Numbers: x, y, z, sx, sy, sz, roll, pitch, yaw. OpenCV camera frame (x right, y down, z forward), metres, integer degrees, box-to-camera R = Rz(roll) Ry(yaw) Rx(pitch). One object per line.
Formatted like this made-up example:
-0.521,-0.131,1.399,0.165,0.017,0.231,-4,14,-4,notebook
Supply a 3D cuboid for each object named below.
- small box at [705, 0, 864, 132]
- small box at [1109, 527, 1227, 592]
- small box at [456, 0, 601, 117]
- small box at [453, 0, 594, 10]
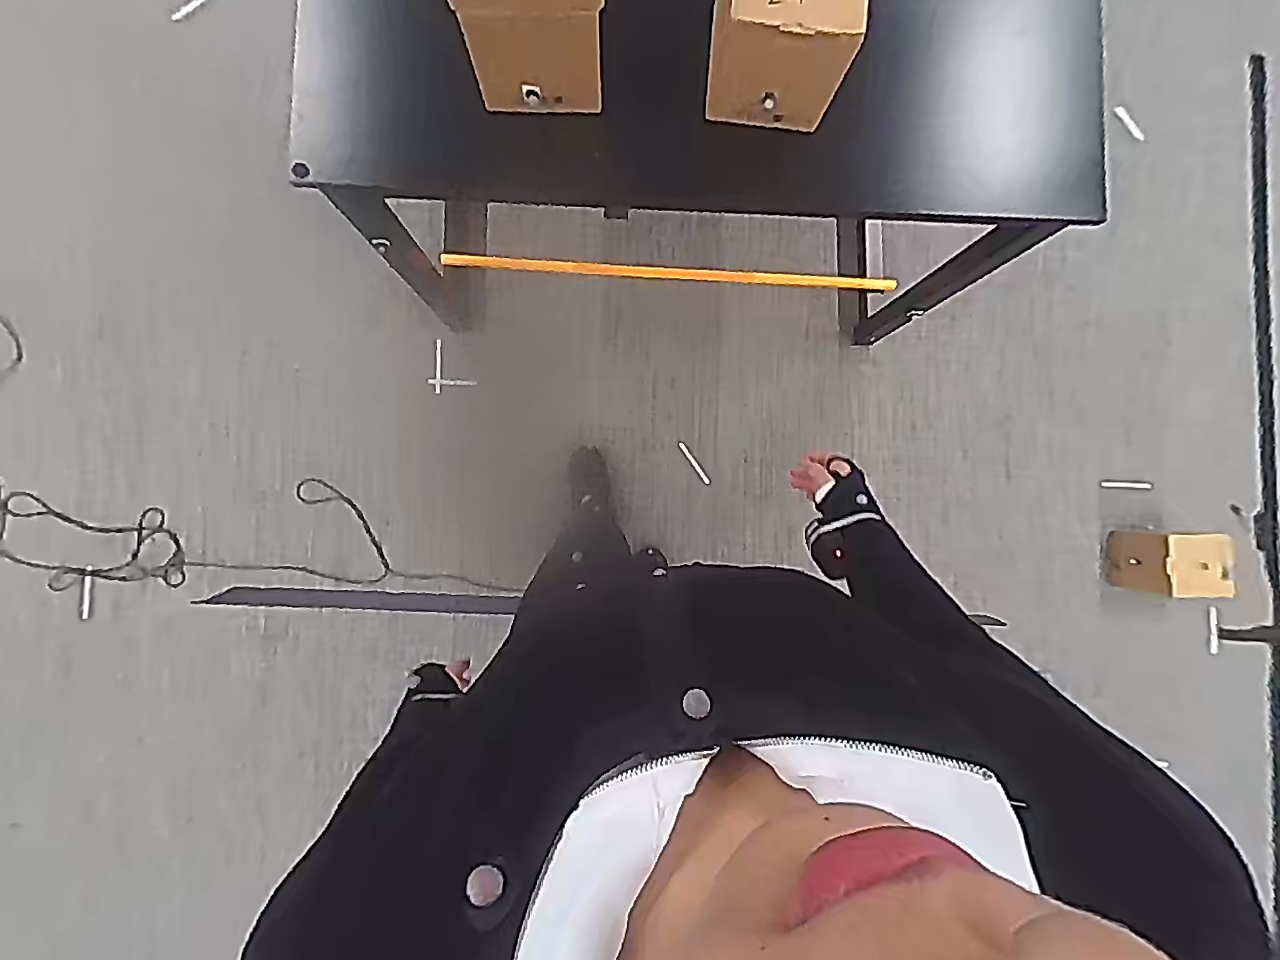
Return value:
0.186,-0.615,0.725,0.168,0.176,0.179,5,87,-3,small box
1.449,0.216,1.496,0.179,0.176,0.168,0,88,-3,small box
-0.138,-0.619,0.708,0.168,0.176,0.179,-3,89,-2,small box
-0.131,-0.622,0.544,0.179,0.176,0.168,-3,88,-3,small box
